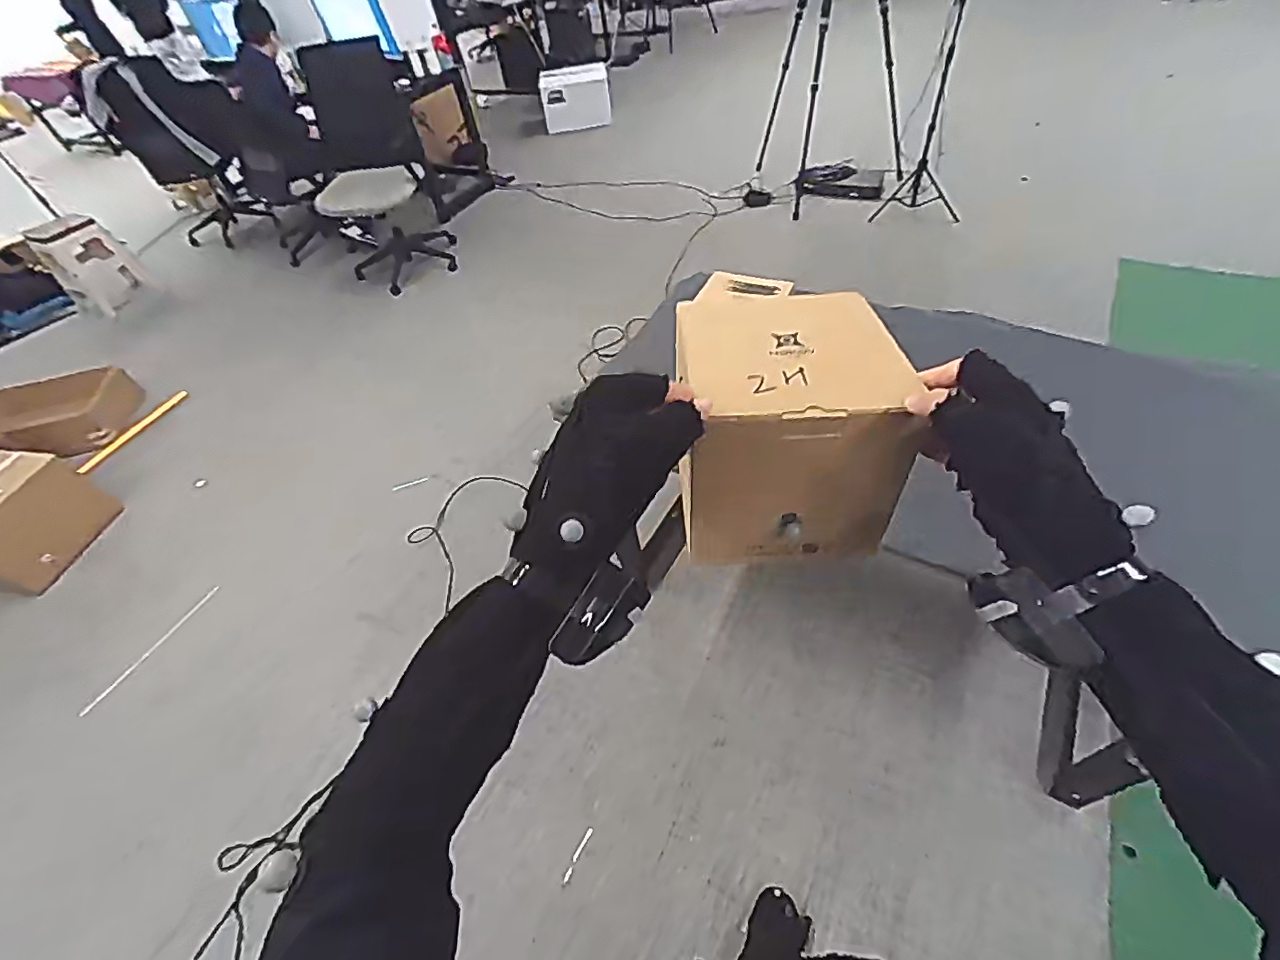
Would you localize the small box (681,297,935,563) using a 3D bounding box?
[{"bbox_3d":[0.123,-0.046,0.484,0.168,0.176,0.179,-2,44,2],"label":"small box"}]
